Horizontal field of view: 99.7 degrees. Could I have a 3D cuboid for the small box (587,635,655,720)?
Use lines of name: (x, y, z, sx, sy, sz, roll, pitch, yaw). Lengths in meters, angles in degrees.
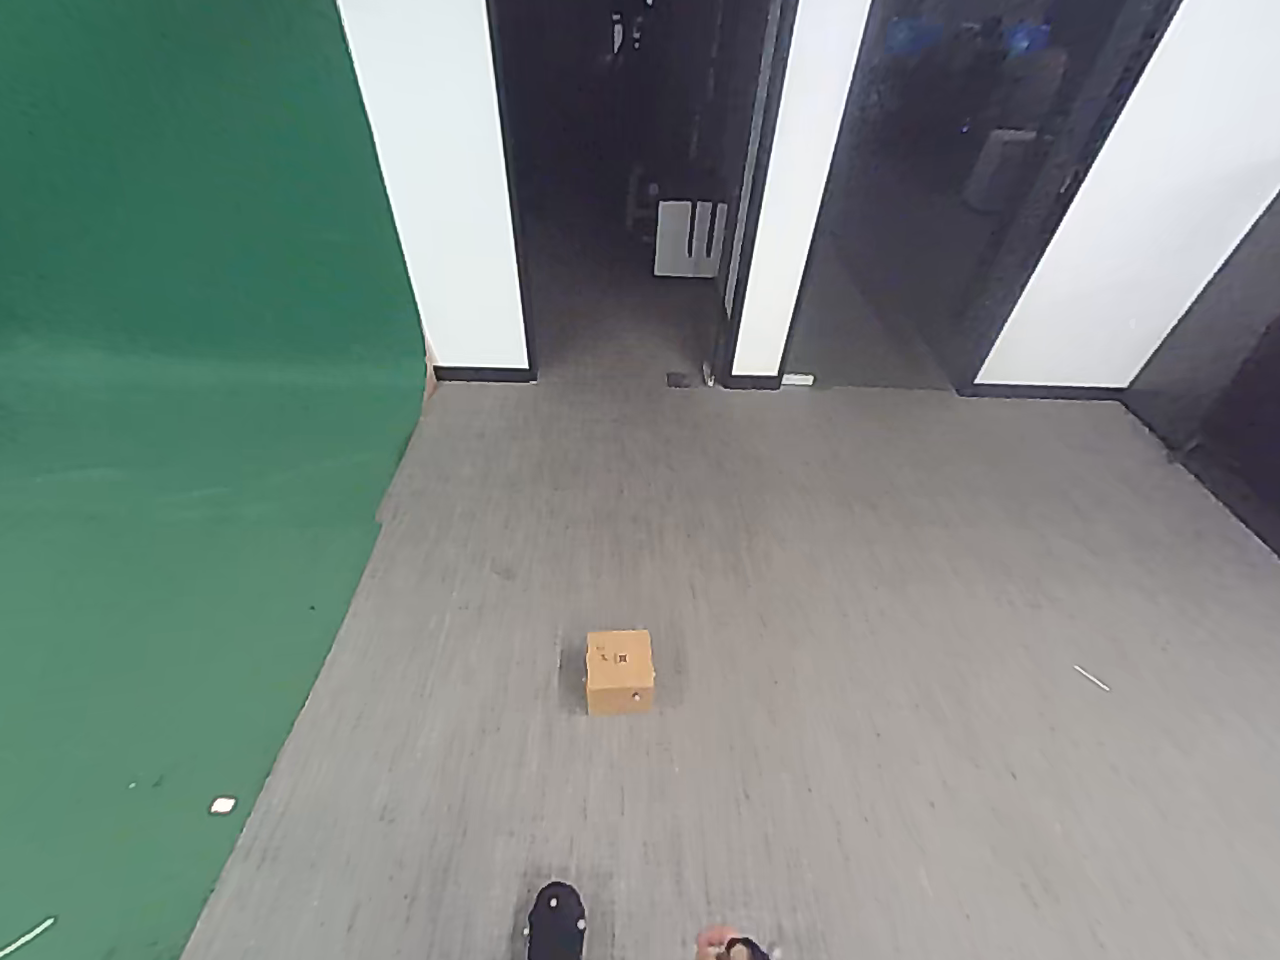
small box: (-0.056, 0.545, 1.489, 0.179, 0.176, 0.168, -1, 43, -4)
